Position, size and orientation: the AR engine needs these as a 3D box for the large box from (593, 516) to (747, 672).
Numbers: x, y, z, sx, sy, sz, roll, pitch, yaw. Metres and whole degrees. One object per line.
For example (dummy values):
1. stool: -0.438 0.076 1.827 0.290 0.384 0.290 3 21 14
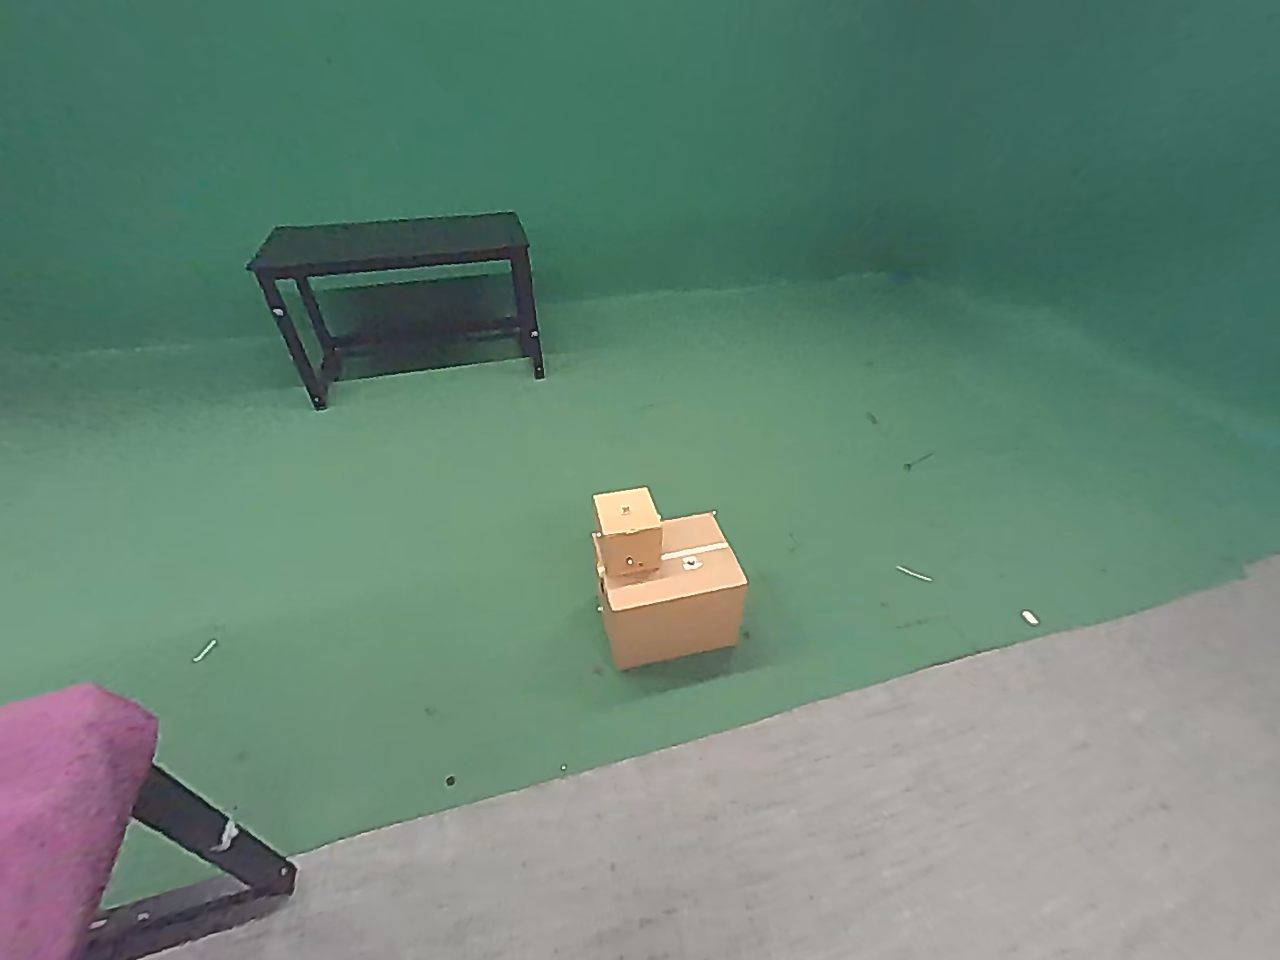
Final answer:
1. large box: 0.079 0.356 1.714 0.408 0.320 0.320 -9 41 -11

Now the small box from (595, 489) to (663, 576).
1. small box: -0.038 0.153 1.578 0.168 0.176 0.179 -9 40 -11
